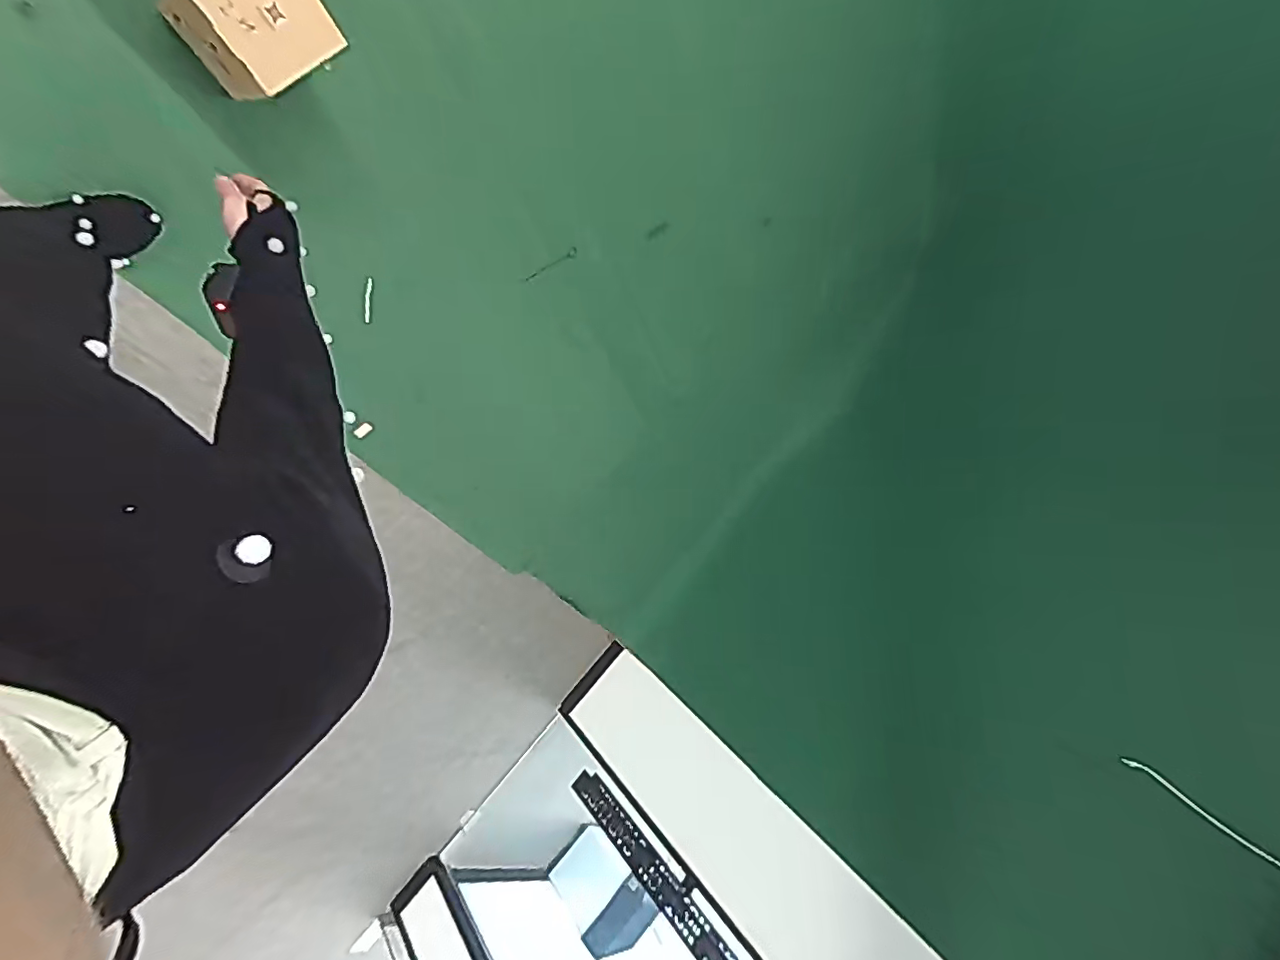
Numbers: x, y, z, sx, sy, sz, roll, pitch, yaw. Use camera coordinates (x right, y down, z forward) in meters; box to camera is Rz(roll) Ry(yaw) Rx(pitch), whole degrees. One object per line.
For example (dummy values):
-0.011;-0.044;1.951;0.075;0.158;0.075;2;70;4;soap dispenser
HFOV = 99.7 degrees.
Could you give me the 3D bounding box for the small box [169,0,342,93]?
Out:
-0.666;-0.805;0.934;0.179;0.176;0.168;-46;140;-12;small box
